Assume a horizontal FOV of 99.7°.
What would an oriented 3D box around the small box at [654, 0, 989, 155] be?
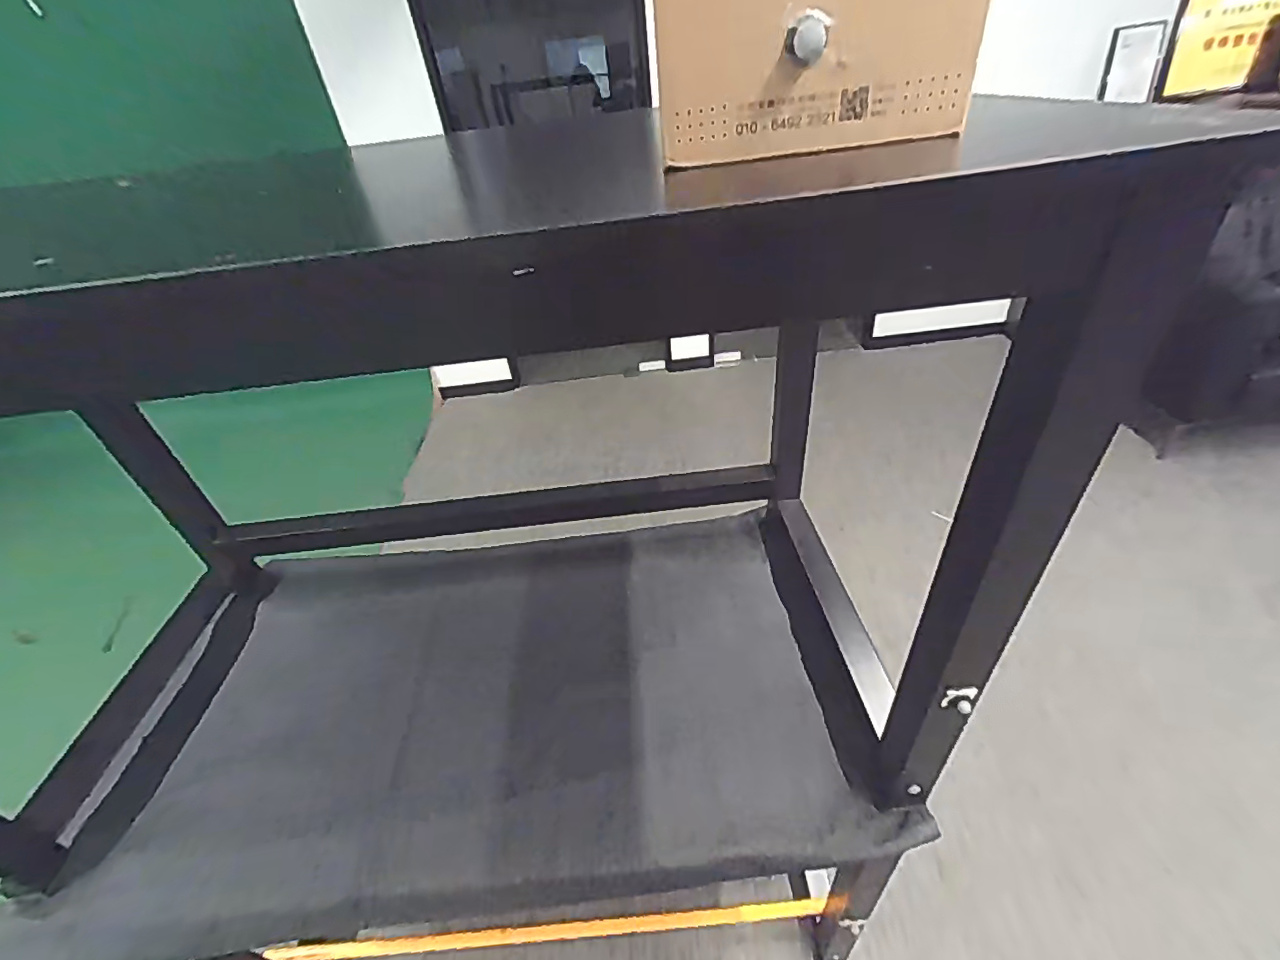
[{"bbox_3d":[0.092,-0.302,0.319,0.168,0.176,0.179,-4,38,6],"label":"small box"}]
